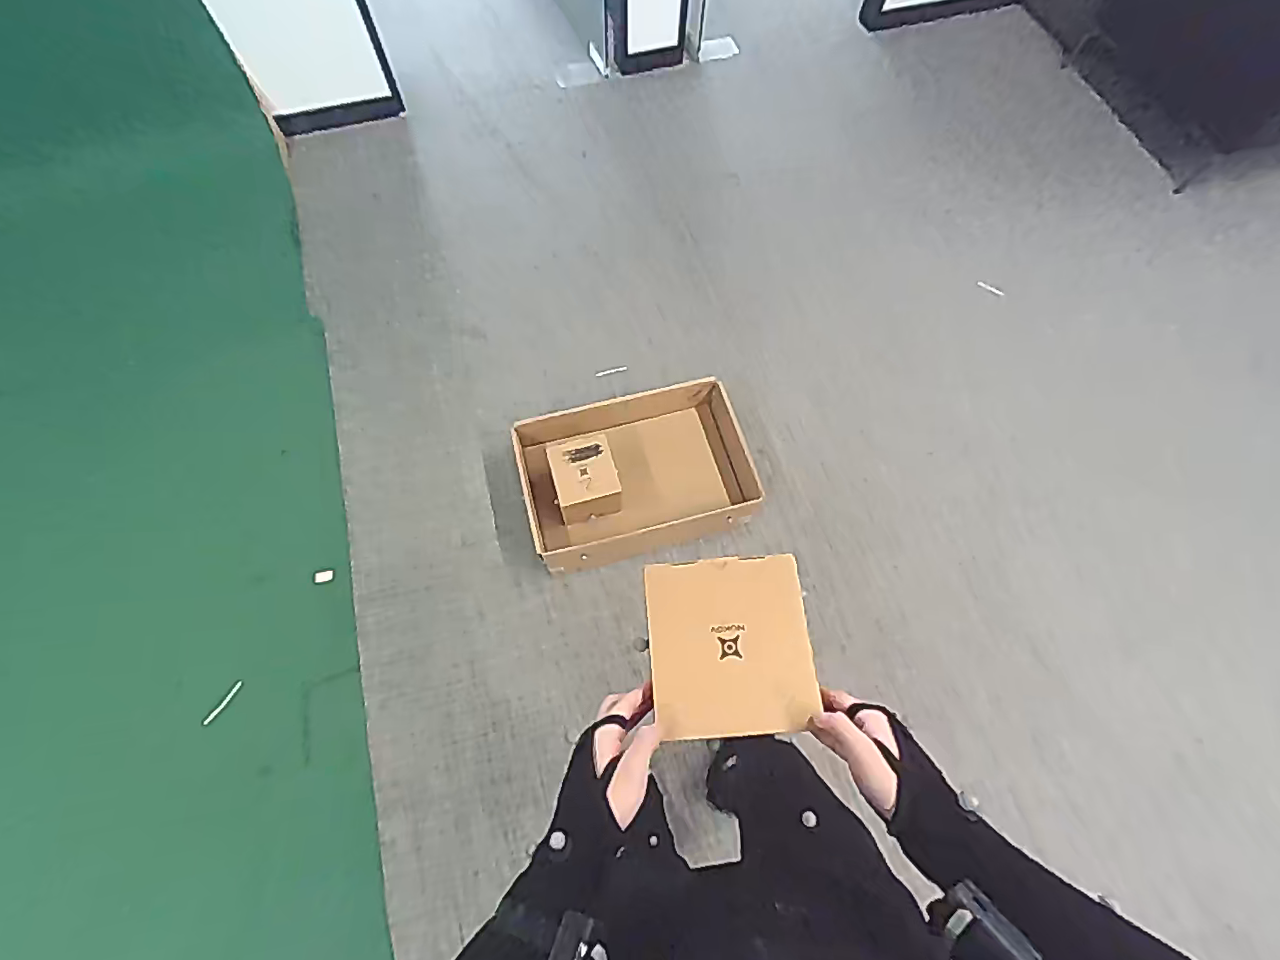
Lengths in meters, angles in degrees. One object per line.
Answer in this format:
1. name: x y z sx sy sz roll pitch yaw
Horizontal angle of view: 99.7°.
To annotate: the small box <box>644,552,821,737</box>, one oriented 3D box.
1. small box: 0.094 0.194 0.627 0.168 0.176 0.179 -4 66 0
